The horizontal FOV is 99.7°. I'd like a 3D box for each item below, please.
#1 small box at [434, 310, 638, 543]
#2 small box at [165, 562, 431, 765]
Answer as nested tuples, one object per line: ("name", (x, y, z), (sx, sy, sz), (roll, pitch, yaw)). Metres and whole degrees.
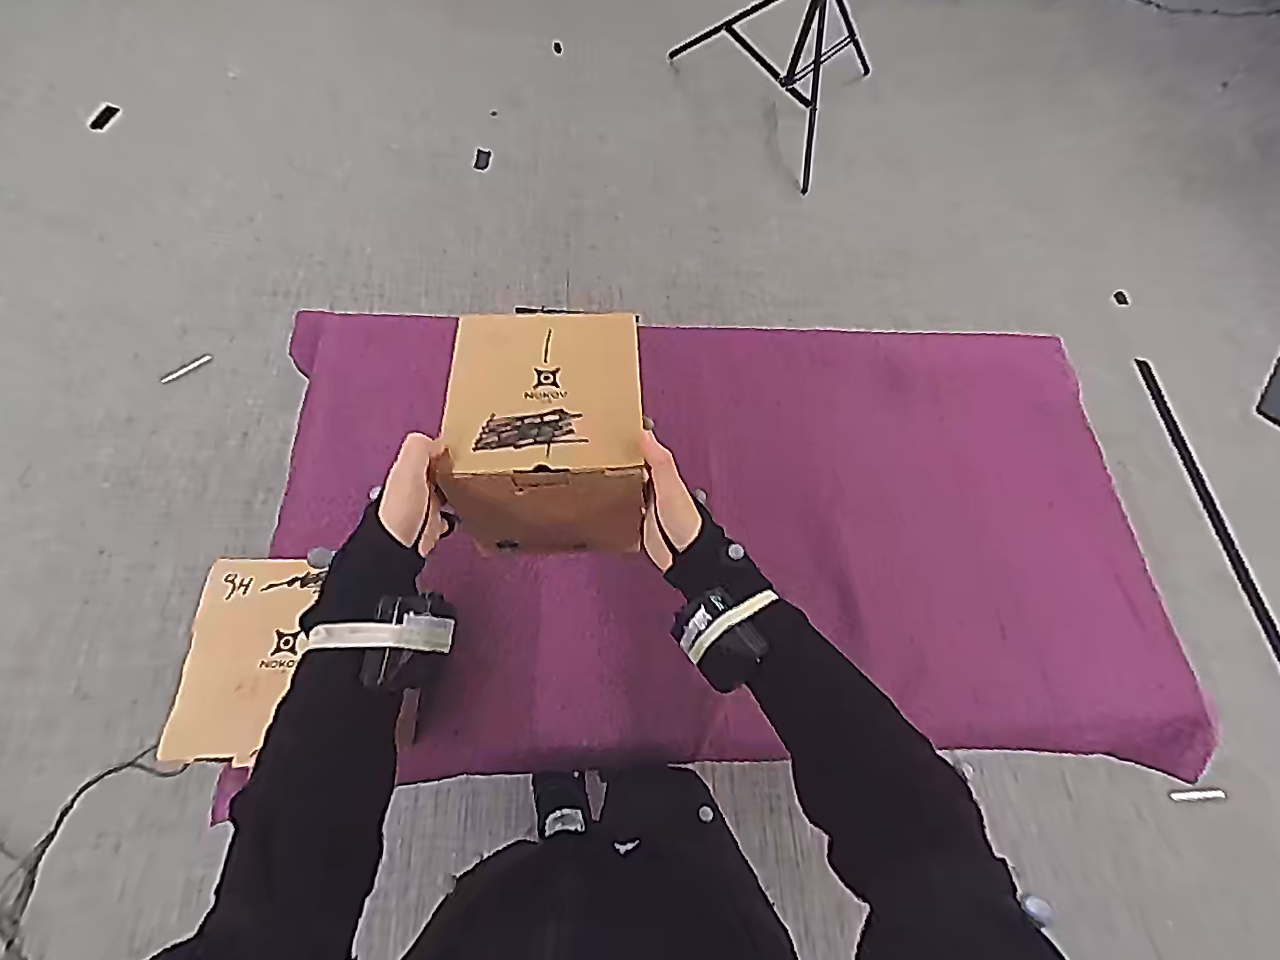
("small box", (-0.086, -0.043, 0.538), (0.168, 0.176, 0.179), (-1, 60, -2))
("small box", (-0.330, 0.191, 0.568), (0.168, 0.176, 0.179), (1, 68, -6))
